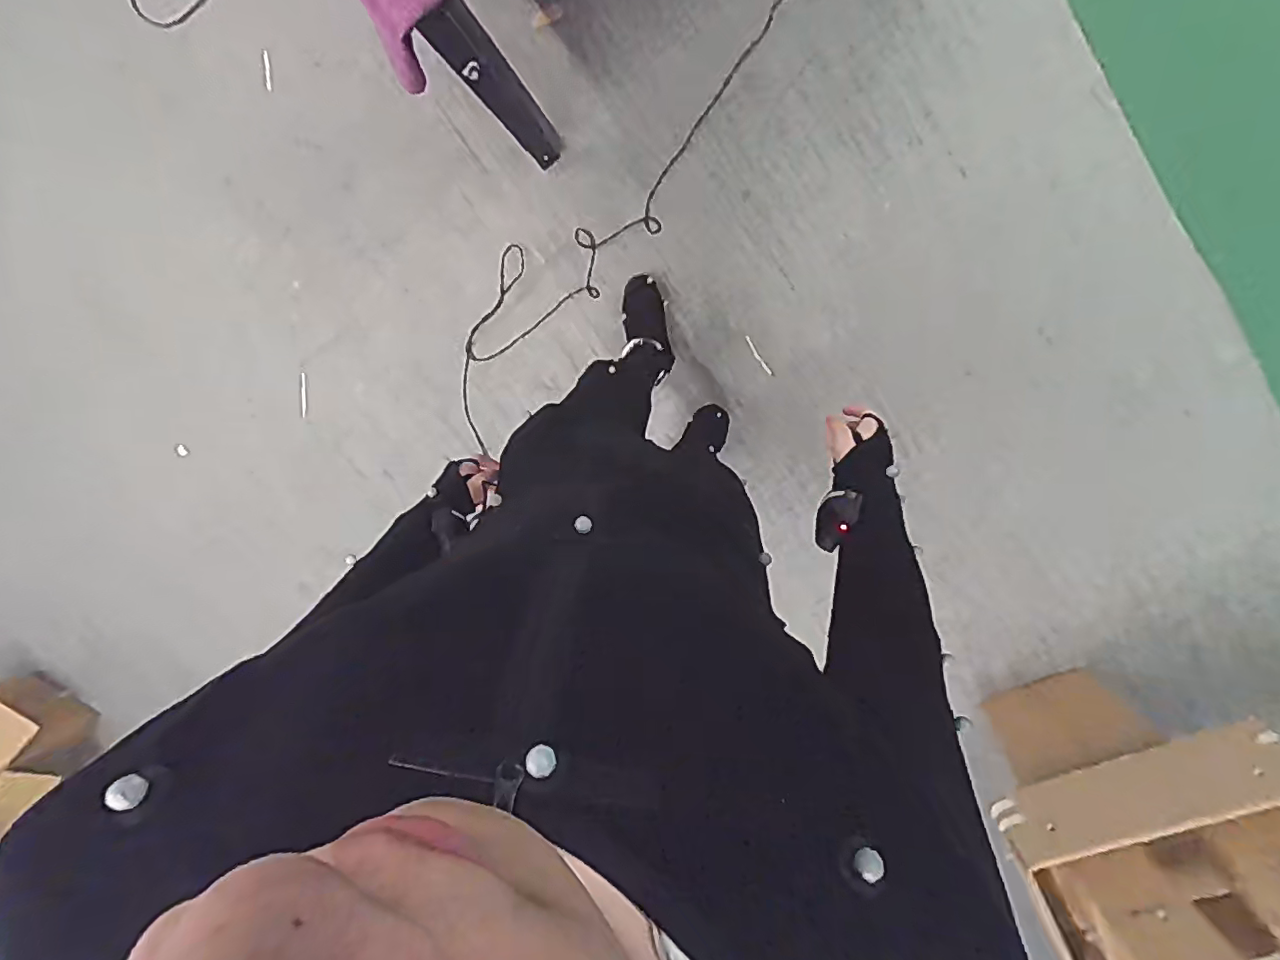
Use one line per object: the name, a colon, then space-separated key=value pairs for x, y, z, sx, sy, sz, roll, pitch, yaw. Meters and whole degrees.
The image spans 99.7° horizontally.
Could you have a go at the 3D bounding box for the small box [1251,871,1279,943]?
small box: x=1.307 y=0.847 z=0.989 sx=0.168 sy=0.176 sz=0.179 roll=-29 pitch=99 yaw=11

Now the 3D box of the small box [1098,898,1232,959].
small box: x=1.050 y=0.970 z=1.048 sx=0.168 sy=0.176 sz=0.179 roll=-23 pitch=100 yaw=11

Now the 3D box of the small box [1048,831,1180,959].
small box: x=1.063 y=0.935 z=1.207 sx=0.168 sy=0.176 sz=0.179 roll=-22 pitch=99 yaw=11
